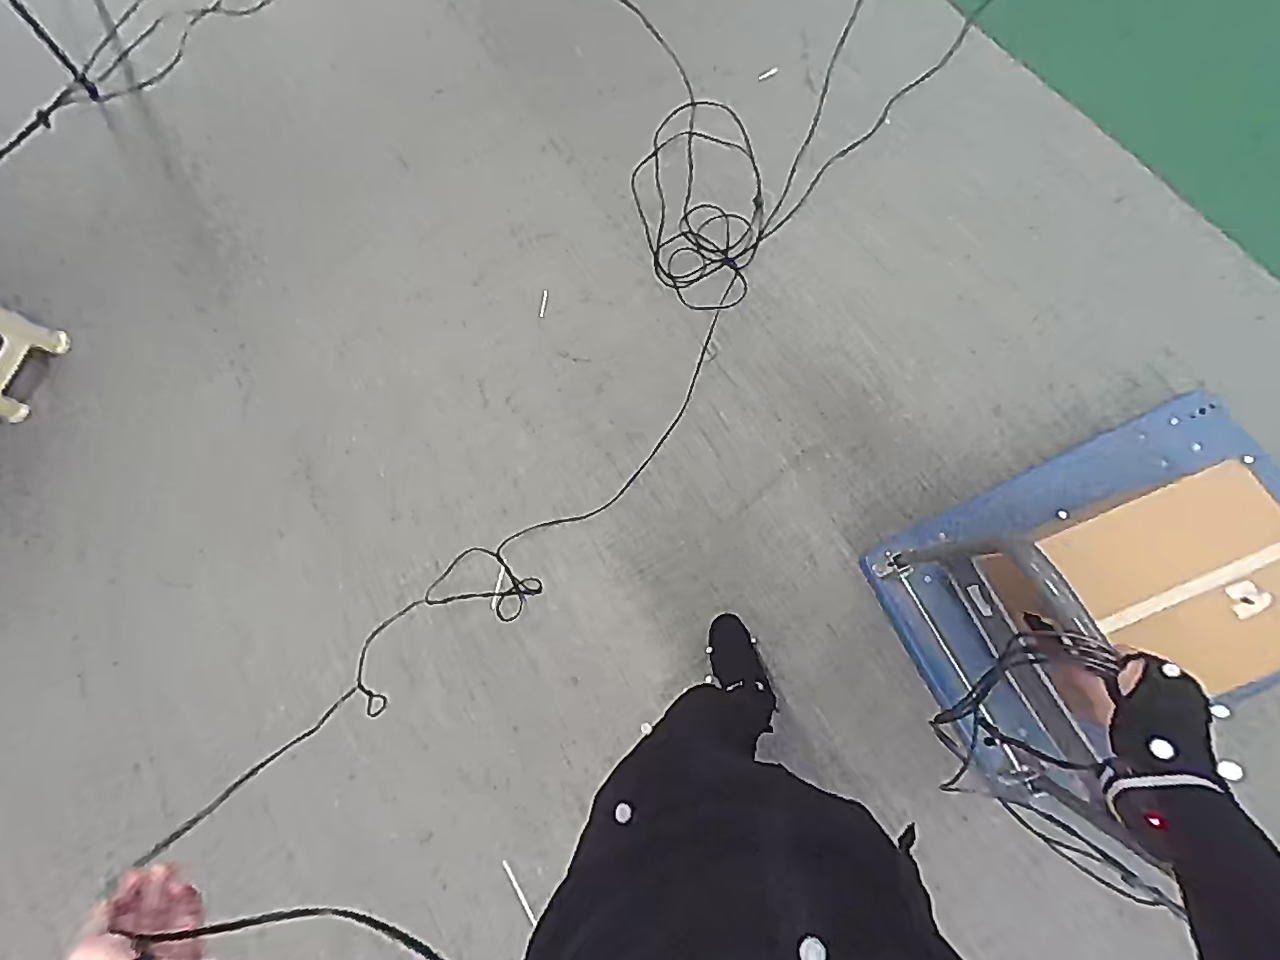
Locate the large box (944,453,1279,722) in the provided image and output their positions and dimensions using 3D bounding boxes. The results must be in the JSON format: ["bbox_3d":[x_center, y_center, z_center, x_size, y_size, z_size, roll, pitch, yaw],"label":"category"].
[{"bbox_3d":[0.895,0.204,1.025,0.408,0.320,0.320,-24,76,2],"label":"large box"}]
